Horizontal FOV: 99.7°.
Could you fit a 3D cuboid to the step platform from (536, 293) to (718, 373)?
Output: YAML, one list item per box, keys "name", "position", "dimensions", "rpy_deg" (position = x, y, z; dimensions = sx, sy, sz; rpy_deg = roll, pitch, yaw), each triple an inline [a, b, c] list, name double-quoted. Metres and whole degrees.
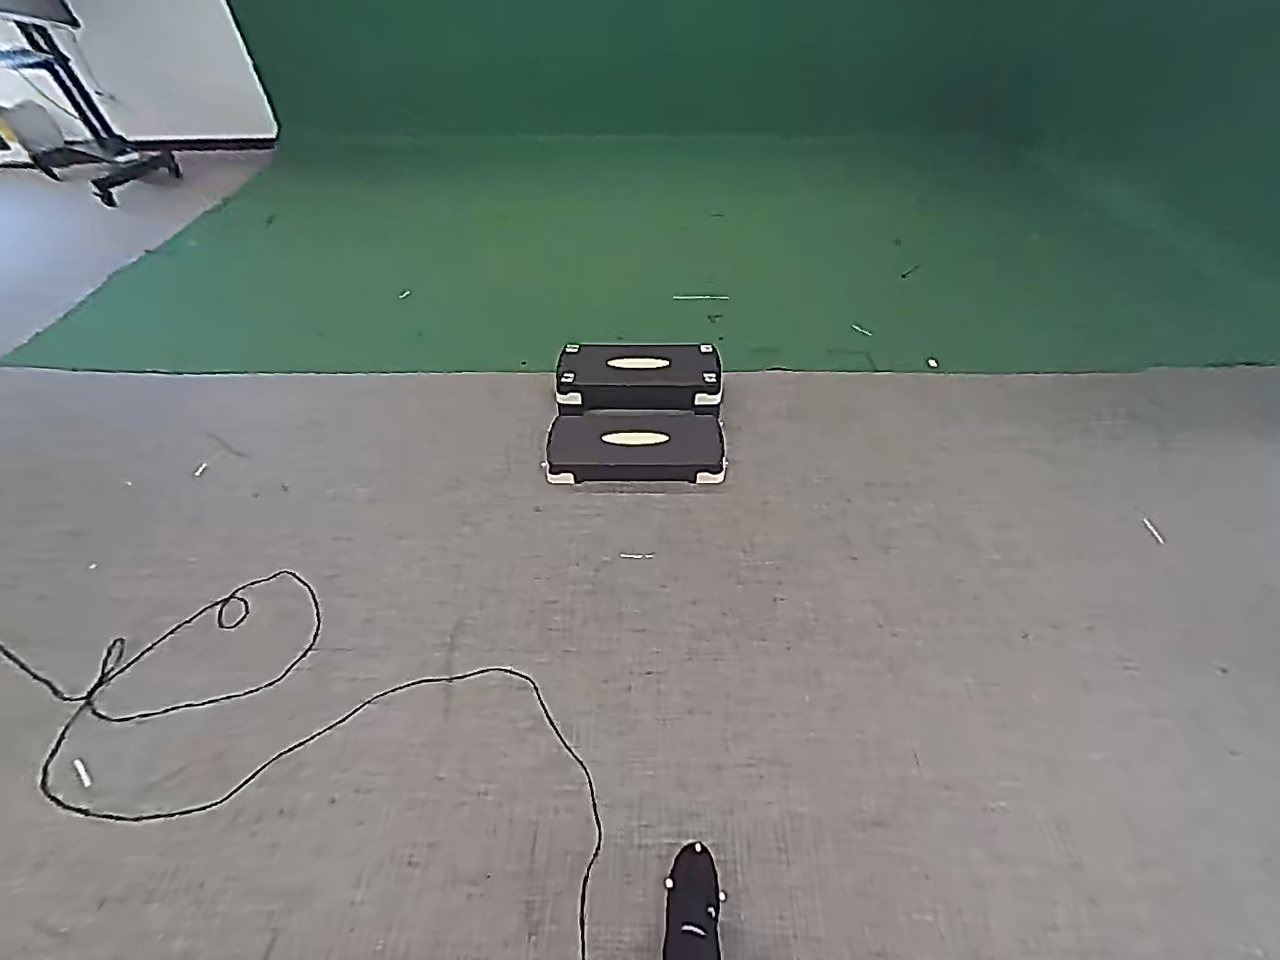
- name: "step platform"
  position: [-0.047, -0.574, 2.114]
  dimensions: [0.684, 0.204, 0.286]
  rpy_deg: [0, 49, 1]
